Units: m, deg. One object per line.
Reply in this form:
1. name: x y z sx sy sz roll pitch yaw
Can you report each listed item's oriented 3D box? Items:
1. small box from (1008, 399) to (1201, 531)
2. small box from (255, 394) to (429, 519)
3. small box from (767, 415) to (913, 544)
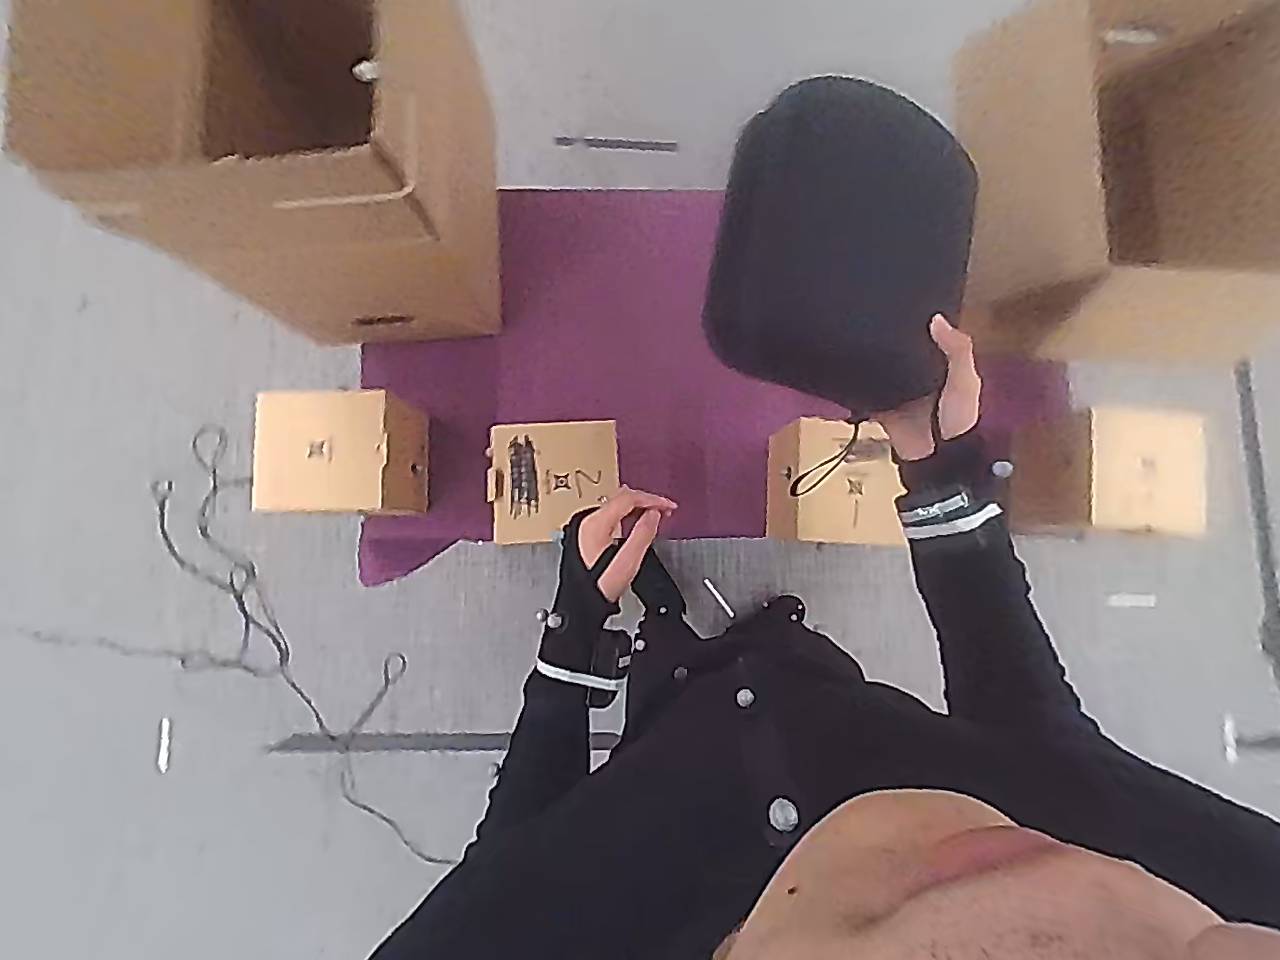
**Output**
1. small box: 0.713 -0.014 0.849 0.168 0.176 0.179 5 84 0
2. small box: -0.437 -0.028 0.818 0.179 0.176 0.168 -2 84 -3
3. small box: 0.299 0.006 0.837 0.168 0.176 0.179 3 85 -1
